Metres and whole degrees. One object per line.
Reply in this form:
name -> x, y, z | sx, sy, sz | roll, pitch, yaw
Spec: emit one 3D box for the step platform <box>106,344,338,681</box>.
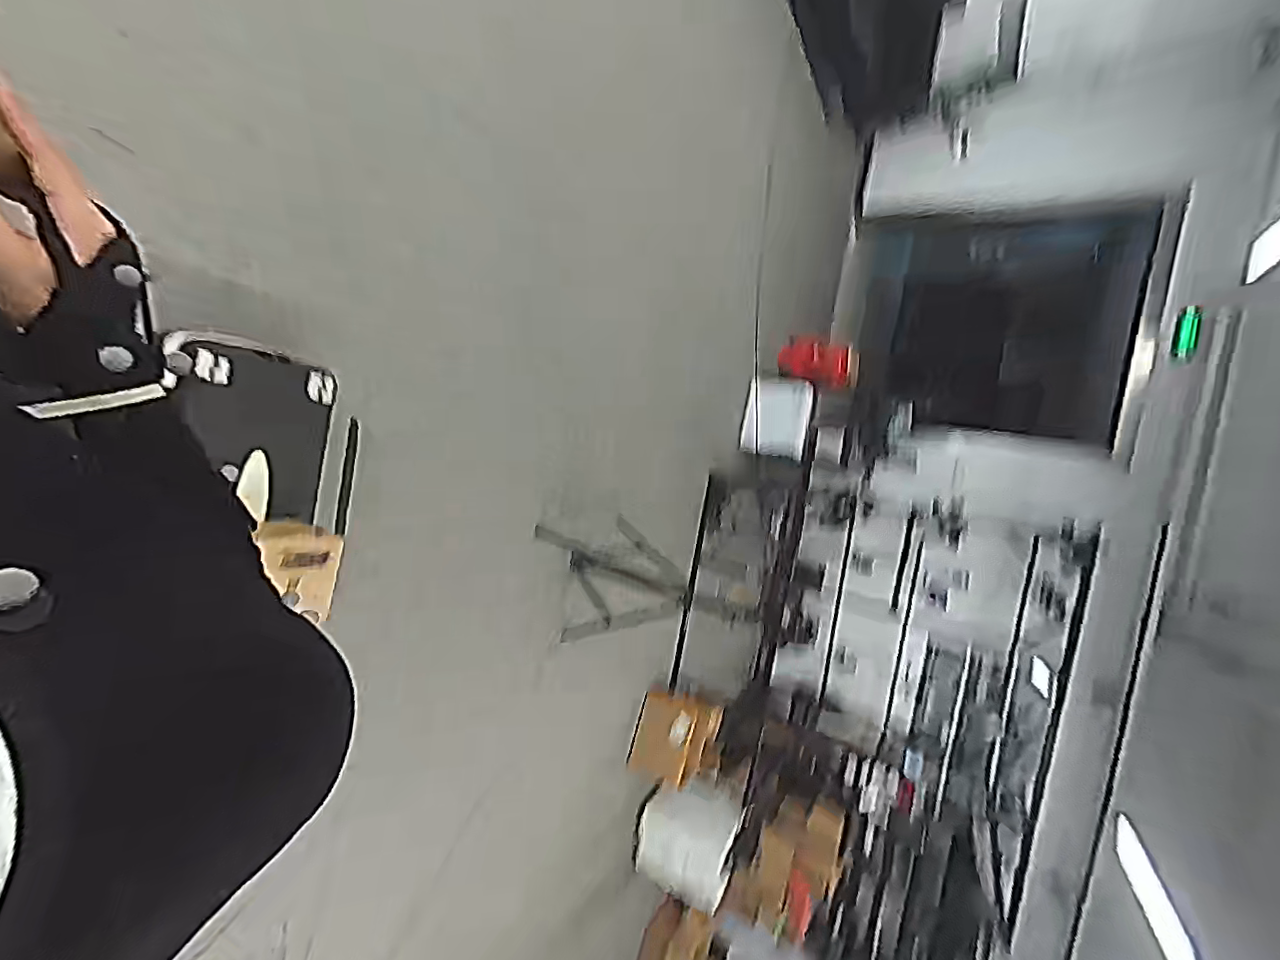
step platform -> -0.878, 0.068, 1.162 | 0.286, 0.204, 0.684 | 8, 92, -61
